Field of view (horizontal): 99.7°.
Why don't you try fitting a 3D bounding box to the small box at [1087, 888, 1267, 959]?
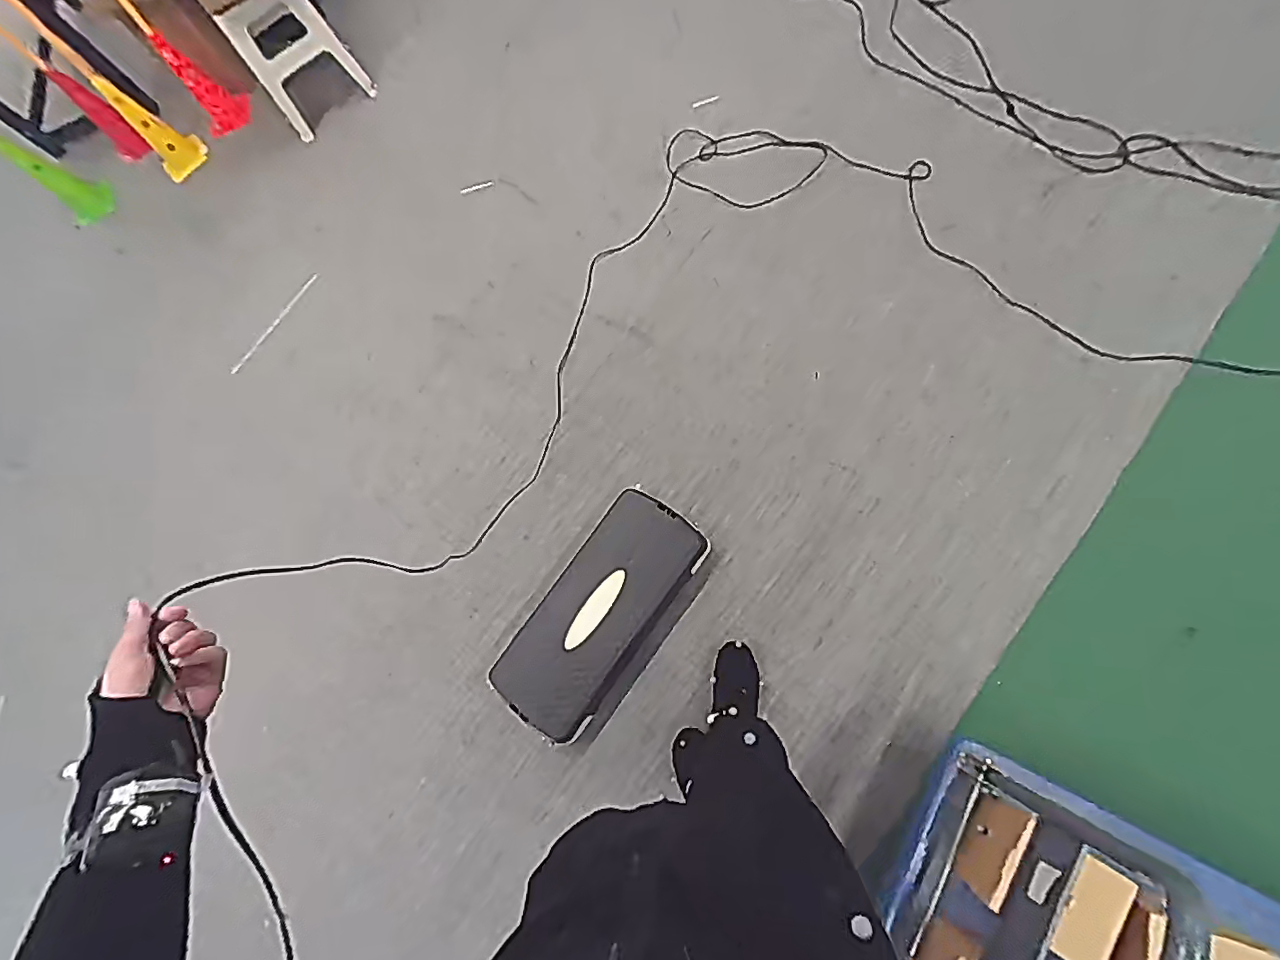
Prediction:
[{"bbox_3d":[0.881,0.816,0.889,0.179,0.176,0.168,13,77,14],"label":"small box"}]
